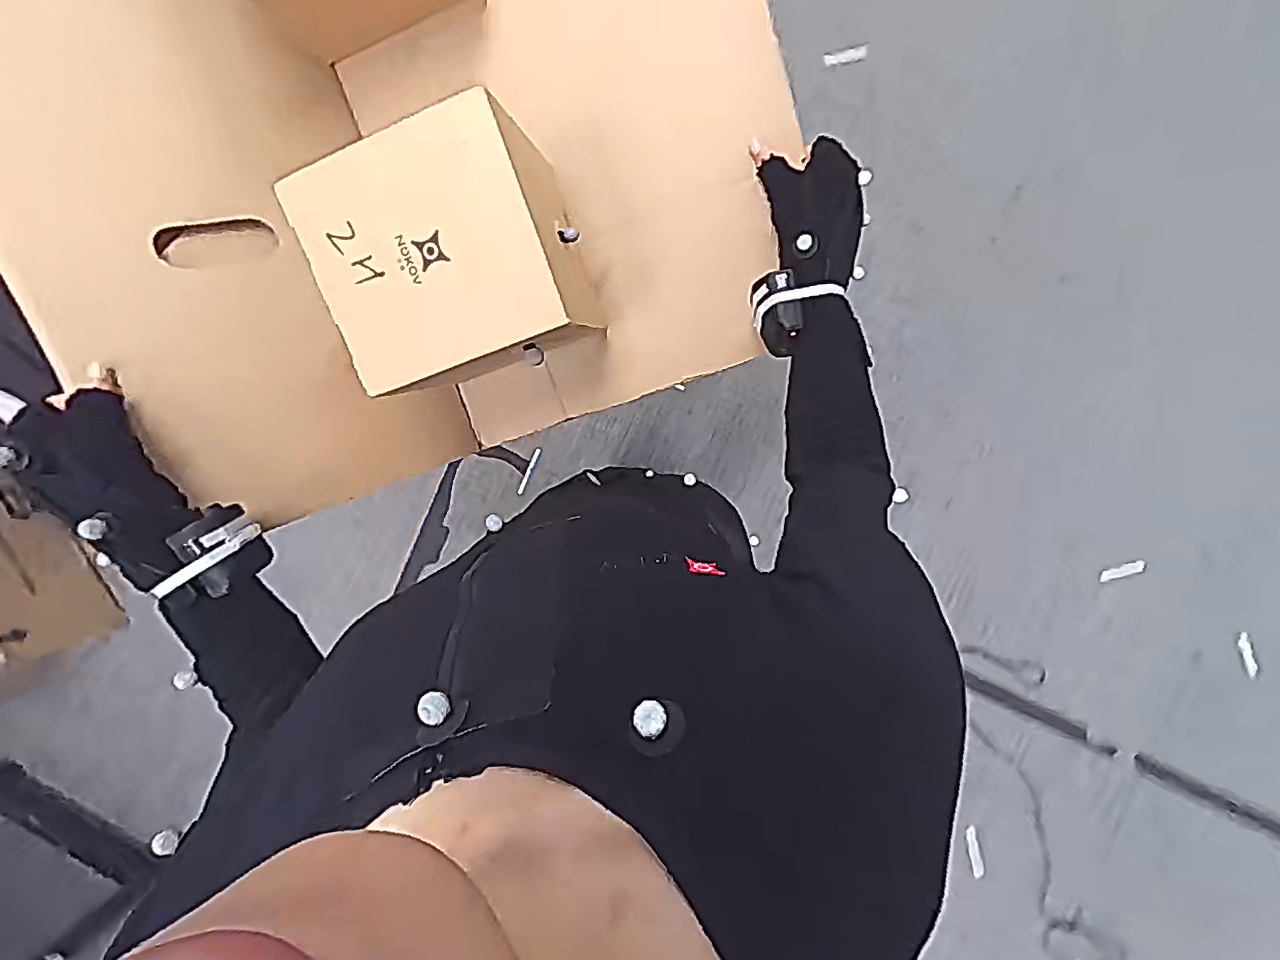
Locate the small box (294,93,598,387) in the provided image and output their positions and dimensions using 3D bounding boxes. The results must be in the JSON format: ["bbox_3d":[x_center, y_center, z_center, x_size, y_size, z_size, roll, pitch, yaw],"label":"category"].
[{"bbox_3d":[-0.145,-0.192,0.481,0.179,0.176,0.168,-15,102,11],"label":"small box"}]
